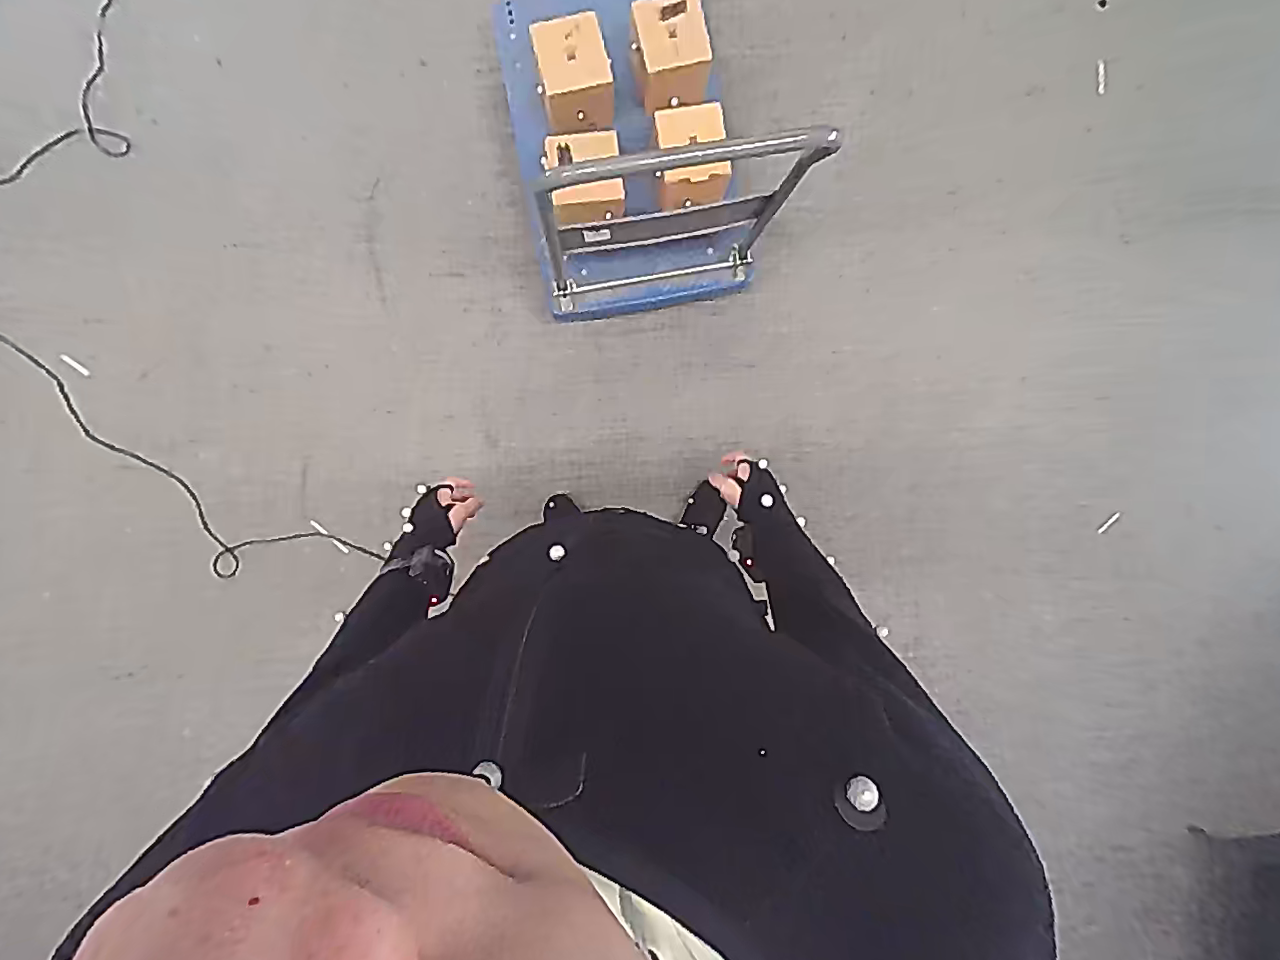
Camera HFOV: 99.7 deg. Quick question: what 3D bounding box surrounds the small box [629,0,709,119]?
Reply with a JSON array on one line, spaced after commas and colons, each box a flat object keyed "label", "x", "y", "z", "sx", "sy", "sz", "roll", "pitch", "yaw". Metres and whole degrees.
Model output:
[{"label": "small box", "x": 0.070, "y": -1.088, "z": 1.404, "sx": 0.168, "sy": 0.176, "sz": 0.179, "roll": -14, "pitch": 92, "yaw": -2}]

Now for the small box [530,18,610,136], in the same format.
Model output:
[{"label": "small box", "x": -0.173, "y": -1.023, "z": 1.393, "sx": 0.168, "sy": 0.176, "sz": 0.179, "roll": -15, "pitch": 91, "yaw": -3}]

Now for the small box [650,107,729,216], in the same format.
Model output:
[{"label": "small box", "x": 0.122, "y": -0.823, "z": 1.408, "sx": 0.168, "sy": 0.176, "sz": 0.179, "roll": -10, "pitch": 91, "yaw": -3}]
